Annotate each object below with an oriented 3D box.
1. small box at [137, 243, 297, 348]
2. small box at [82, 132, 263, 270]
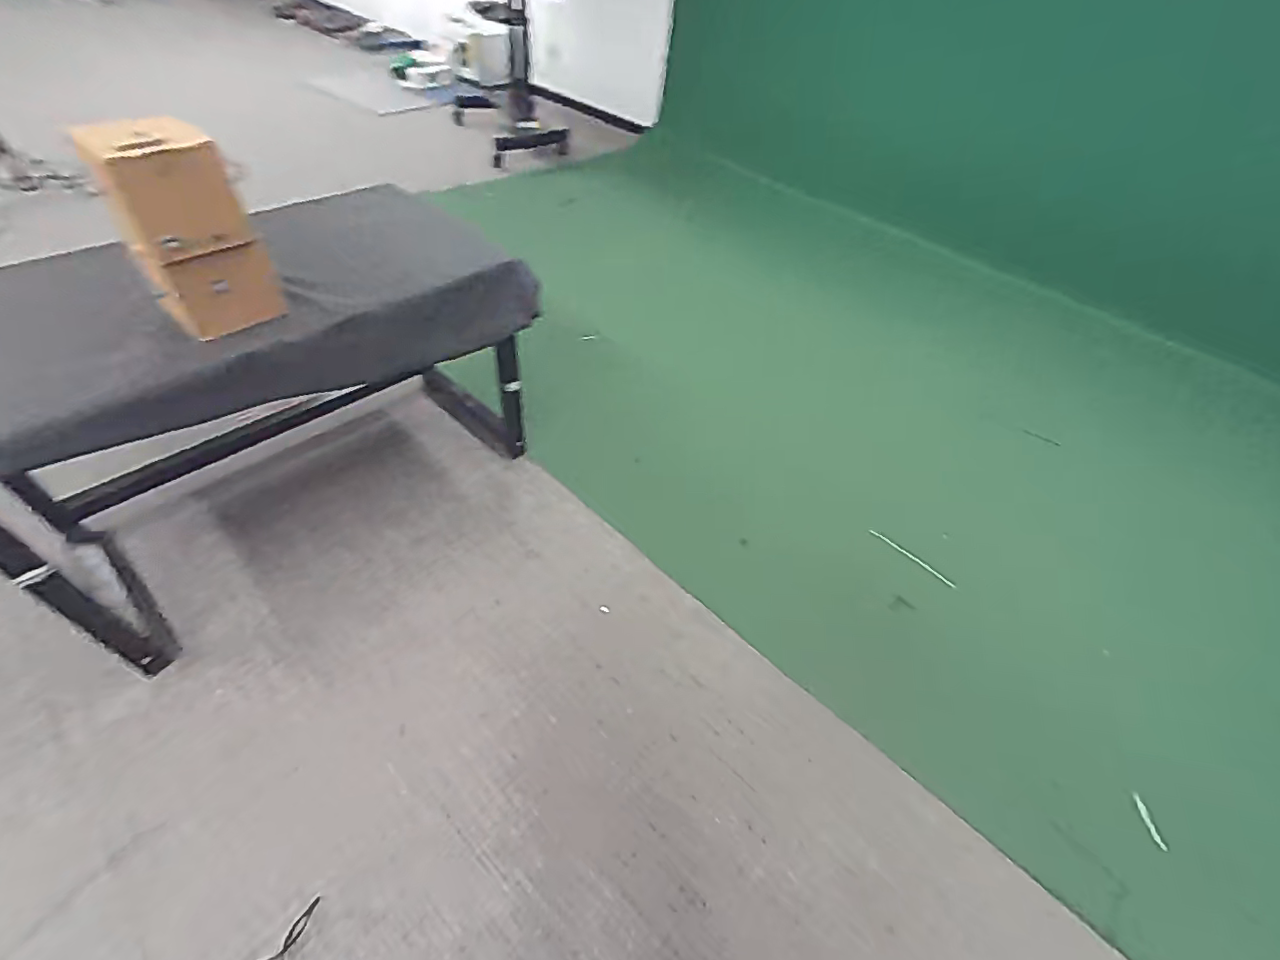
[{"bbox_3d":[-0.851,-0.394,1.106,0.168,0.176,0.179,30,50,22],"label":"small box"},{"bbox_3d":[-0.831,-0.501,0.979,0.179,0.176,0.168,34,52,24],"label":"small box"}]
